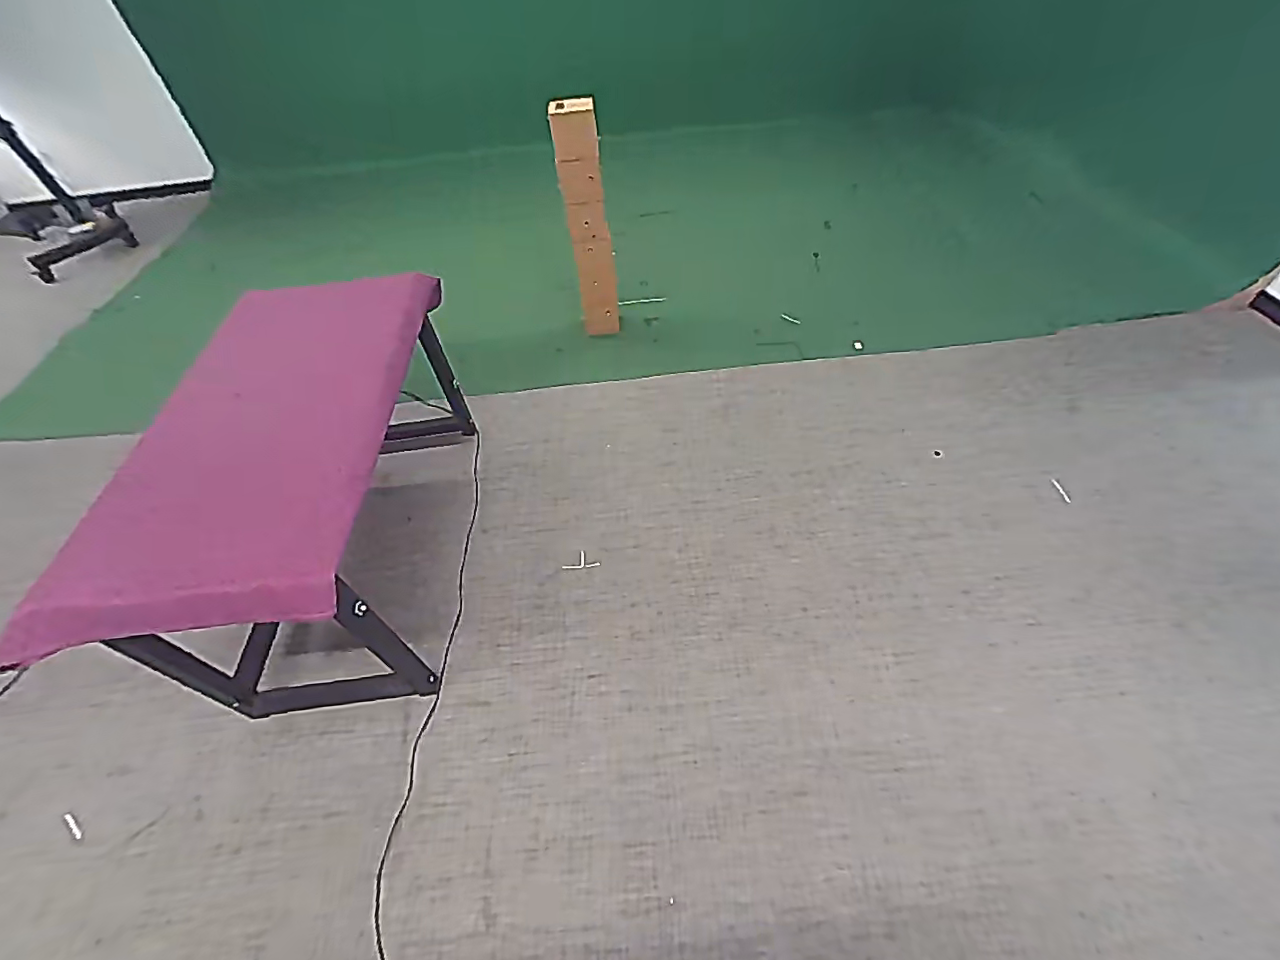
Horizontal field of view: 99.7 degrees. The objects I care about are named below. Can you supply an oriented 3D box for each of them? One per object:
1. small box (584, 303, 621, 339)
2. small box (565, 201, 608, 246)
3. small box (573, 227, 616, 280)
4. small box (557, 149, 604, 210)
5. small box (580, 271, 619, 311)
[{"bbox_3d":[-0.192,-0.846,2.785,0.179,0.176,0.168,-6,49,1],"label":"small box"},{"bbox_3d":[-0.238,-1.166,2.419,0.168,0.176,0.179,-8,50,0],"label":"small box"},{"bbox_3d":[-0.216,-1.061,2.541,0.179,0.176,0.168,-9,50,-2],"label":"small box"},{"bbox_3d":[-0.249,-1.275,2.296,0.179,0.176,0.168,-8,48,1],"label":"small box"},{"bbox_3d":[-0.200,-0.954,2.664,0.179,0.176,0.168,-9,49,0],"label":"small box"}]
